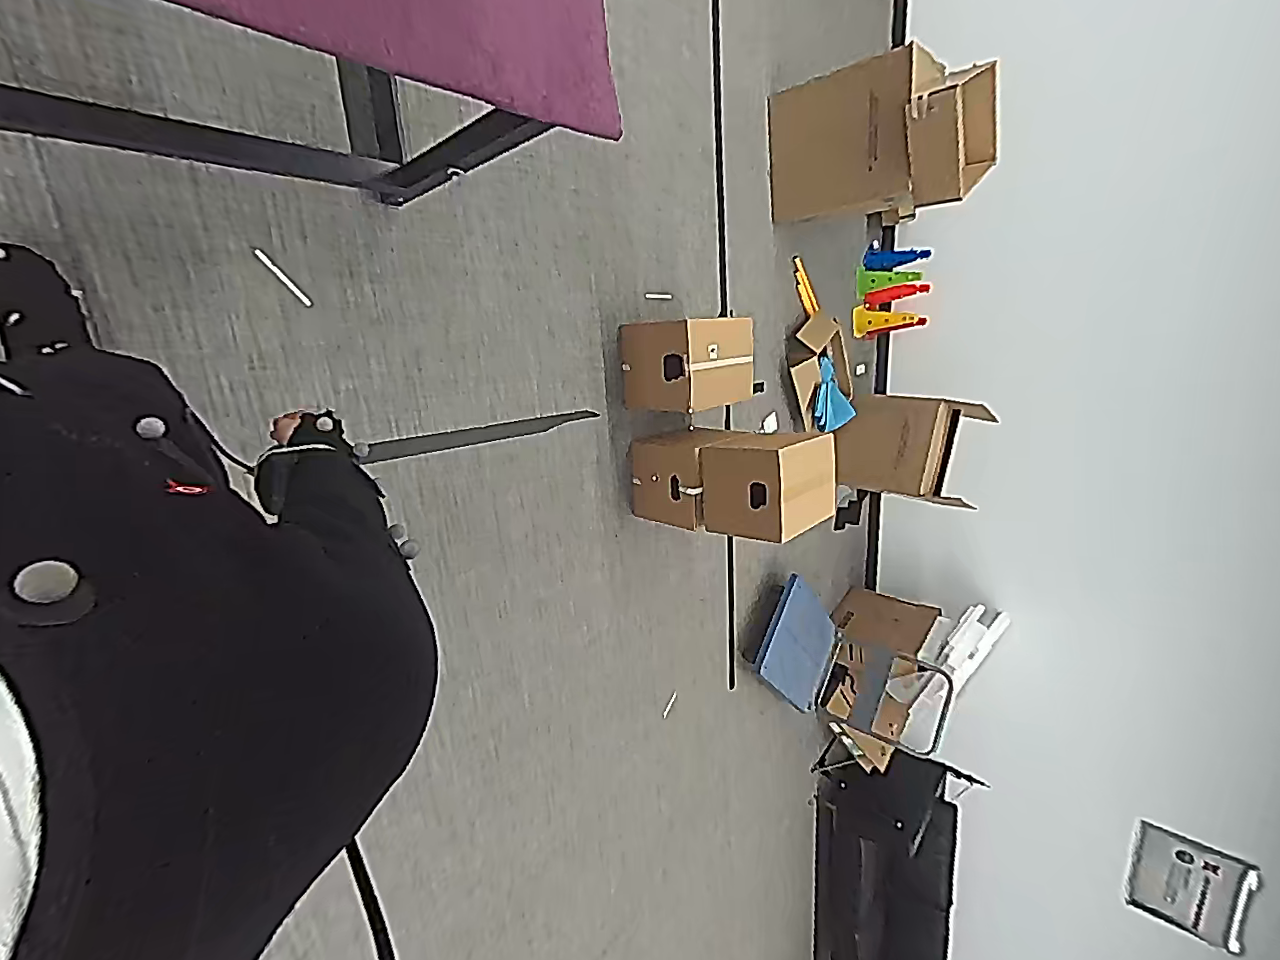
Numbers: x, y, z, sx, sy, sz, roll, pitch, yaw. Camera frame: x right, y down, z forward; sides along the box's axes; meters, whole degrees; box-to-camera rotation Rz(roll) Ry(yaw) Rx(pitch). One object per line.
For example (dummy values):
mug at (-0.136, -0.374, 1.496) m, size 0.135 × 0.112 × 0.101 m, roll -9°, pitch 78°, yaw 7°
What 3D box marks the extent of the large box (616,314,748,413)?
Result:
large box at (0.165, -0.444, 2.018) m, size 0.408 × 0.320 × 0.320 m, roll -19°, pitch 111°, yaw -44°
